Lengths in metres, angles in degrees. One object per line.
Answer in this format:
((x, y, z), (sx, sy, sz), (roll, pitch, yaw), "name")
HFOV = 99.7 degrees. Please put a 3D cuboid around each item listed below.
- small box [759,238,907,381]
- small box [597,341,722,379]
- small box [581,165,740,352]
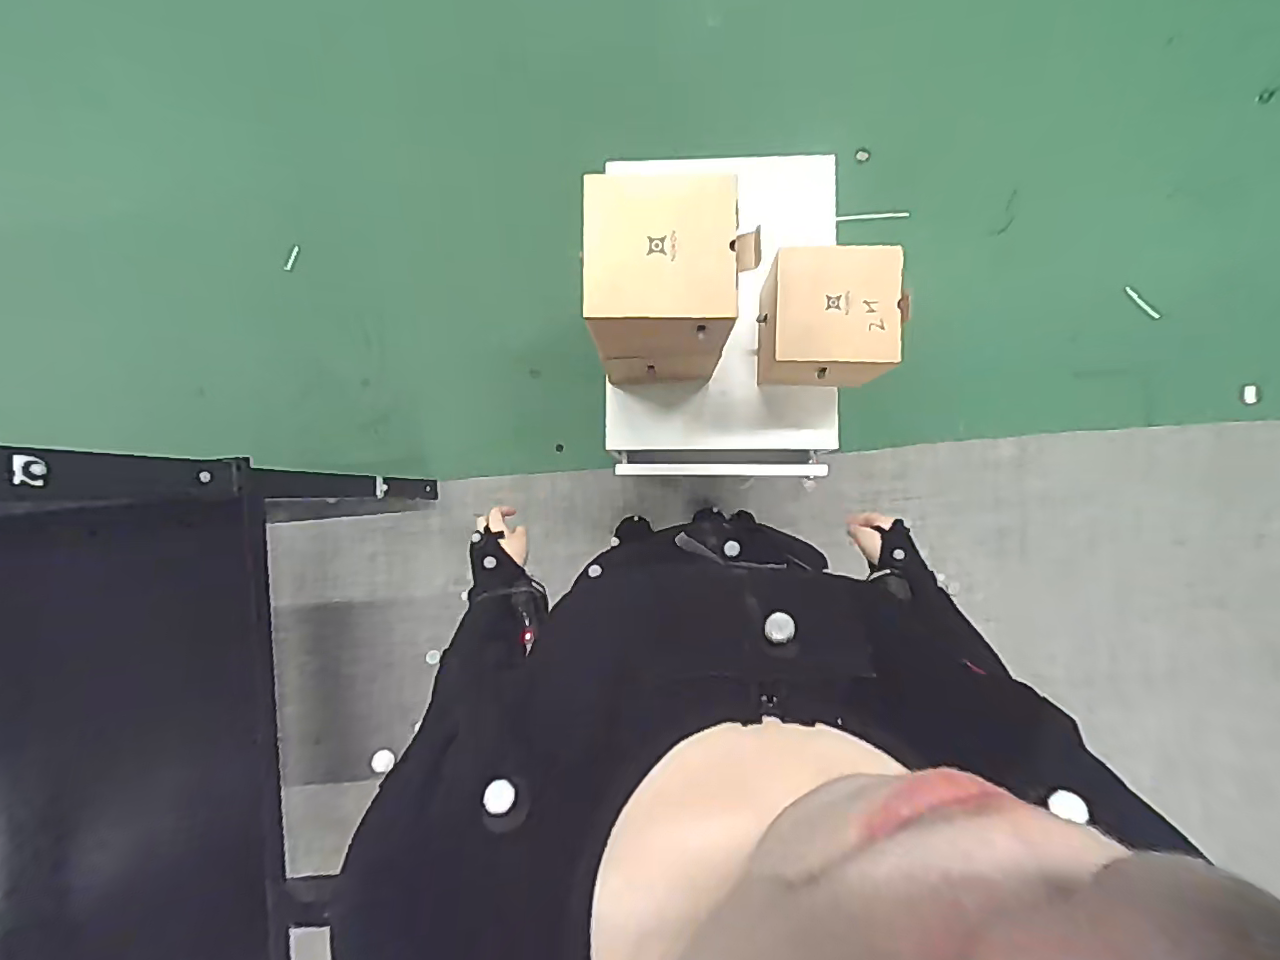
((0.280, -0.248, 0.819), (0.179, 0.176, 0.168), (1, 89, 3), "small box")
((0.030, -0.254, 0.833), (0.179, 0.176, 0.168), (-1, 88, 2), "small box")
((0.025, -0.260, 0.669), (0.179, 0.176, 0.168), (0, 88, 1), "small box")
